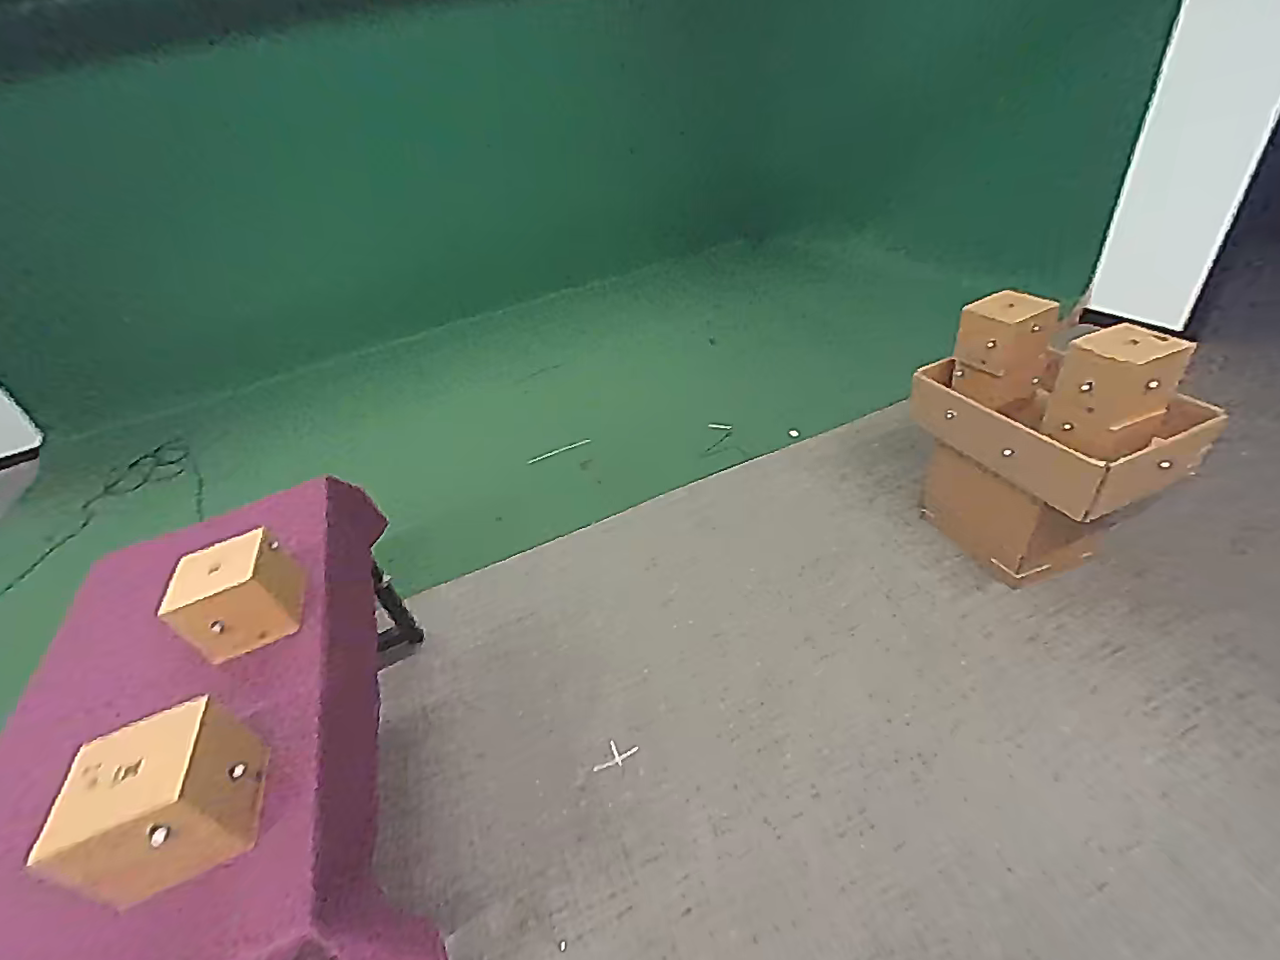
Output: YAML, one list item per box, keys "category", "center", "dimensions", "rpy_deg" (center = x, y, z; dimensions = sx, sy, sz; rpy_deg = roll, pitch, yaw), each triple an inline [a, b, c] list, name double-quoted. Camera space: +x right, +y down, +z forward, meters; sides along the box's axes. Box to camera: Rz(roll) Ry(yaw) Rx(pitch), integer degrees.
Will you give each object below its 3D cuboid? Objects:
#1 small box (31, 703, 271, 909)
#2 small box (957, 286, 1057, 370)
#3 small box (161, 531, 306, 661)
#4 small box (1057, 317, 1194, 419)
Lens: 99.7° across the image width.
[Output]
- category: "small box"
  center: [-0.677, 0.468, 0.781]
  dimensions: [0.179, 0.176, 0.168]
  rpy_deg: [-22, 37, -11]
- category: "small box"
  center: [1.061, -0.444, 1.581]
  dimensions: [0.179, 0.176, 0.168]
  rpy_deg: [-23, 39, -13]
- category: "small box"
  center: [-0.821, 0.244, 1.117]
  dimensions: [0.168, 0.176, 0.179]
  rpy_deg: [-23, 38, -13]
- category: "small box"
  center: [1.173, -0.274, 1.327]
  dimensions: [0.179, 0.176, 0.168]
  rpy_deg: [-20, 38, -8]
